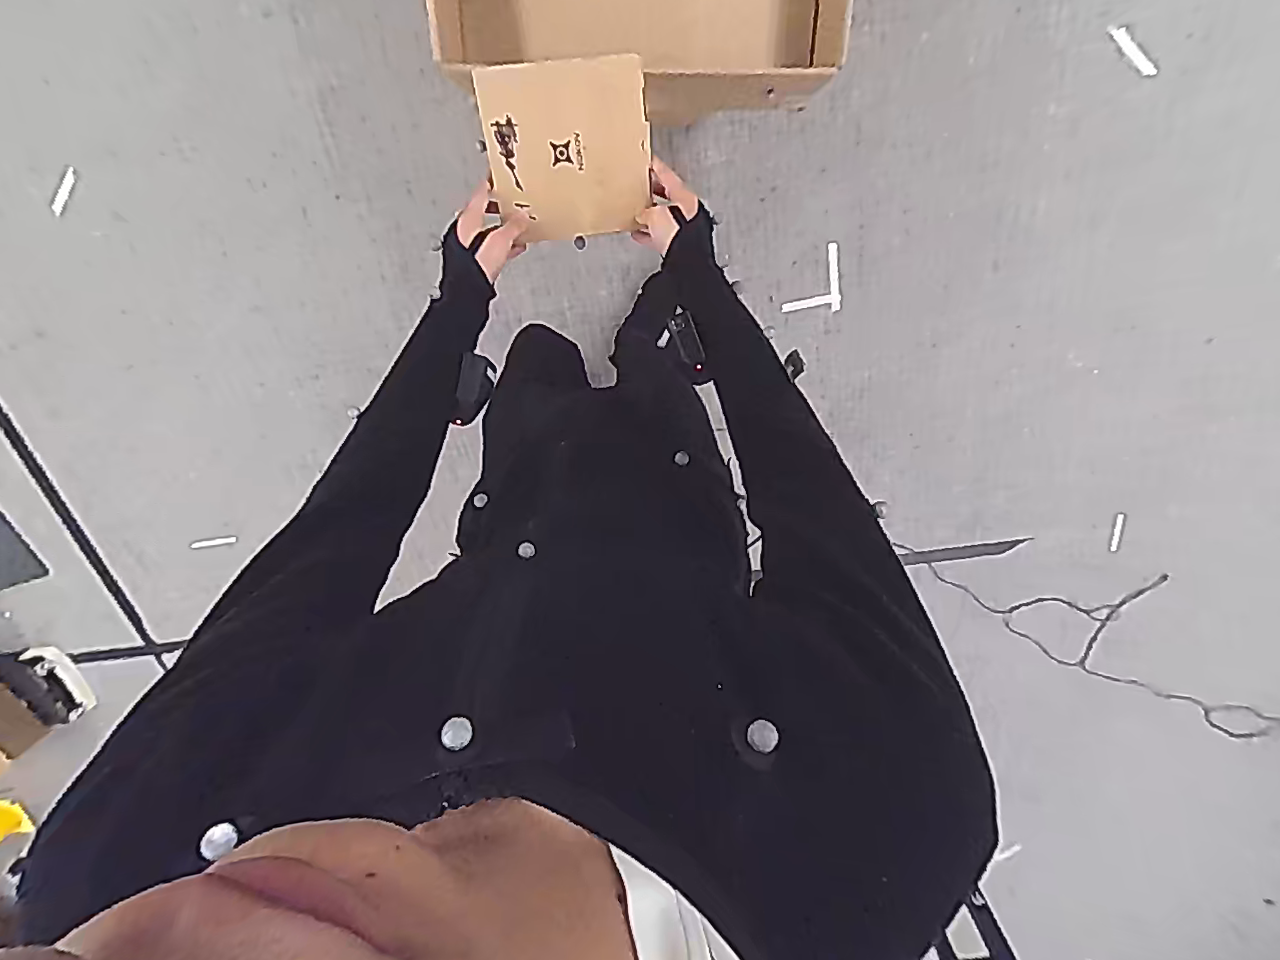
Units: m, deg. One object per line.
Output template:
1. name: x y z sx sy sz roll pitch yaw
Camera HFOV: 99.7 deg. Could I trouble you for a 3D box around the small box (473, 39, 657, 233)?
1. small box: -0.083 -0.392 0.639 0.179 0.176 0.168 -8 116 -4
